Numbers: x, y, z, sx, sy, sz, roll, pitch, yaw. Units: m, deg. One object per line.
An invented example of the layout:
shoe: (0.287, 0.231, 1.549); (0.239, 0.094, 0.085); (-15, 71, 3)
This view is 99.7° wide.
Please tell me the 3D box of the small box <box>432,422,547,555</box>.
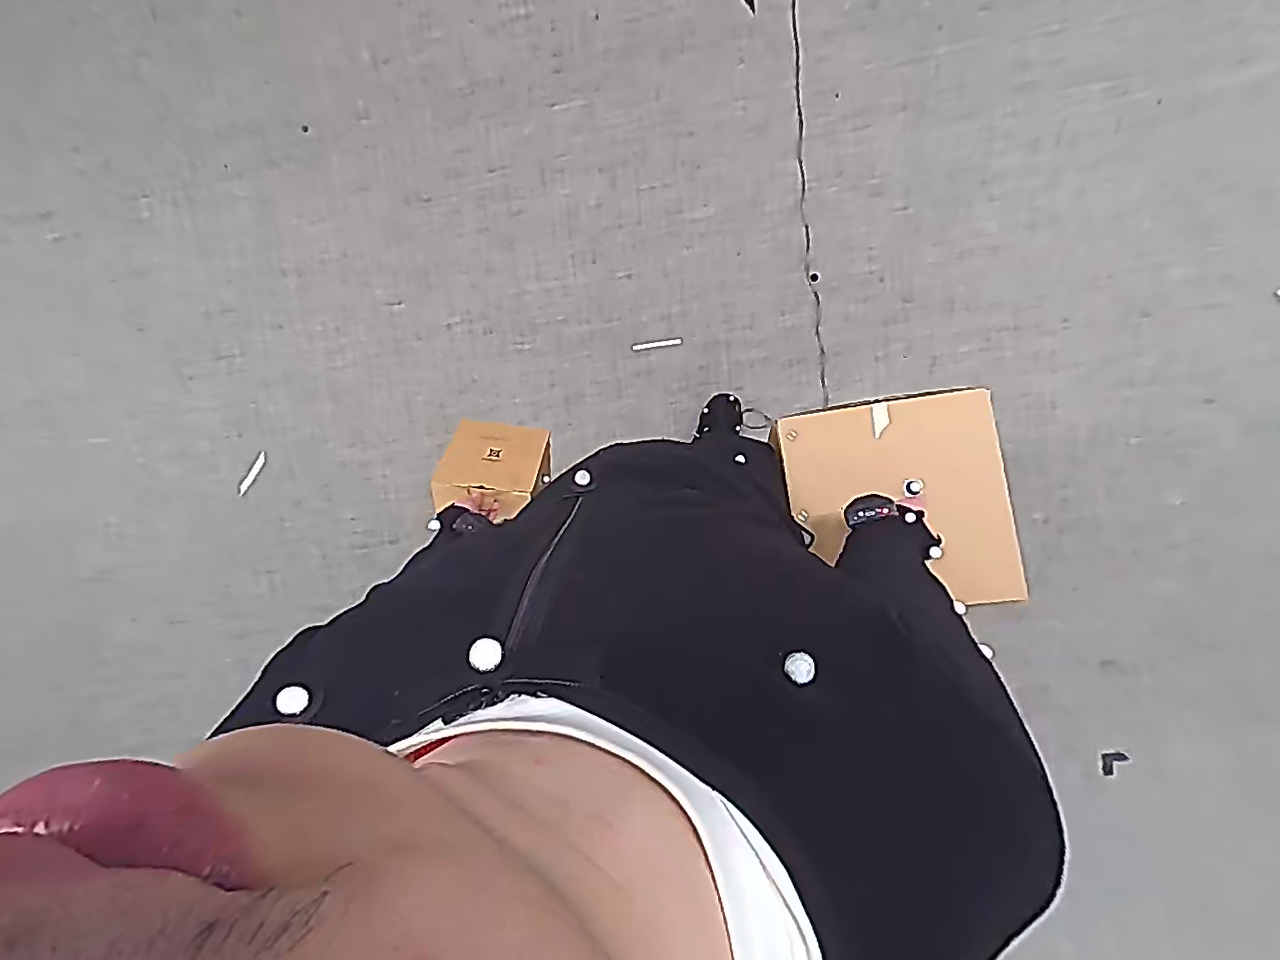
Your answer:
small box: (-0.265, 0.018, 0.998); (0.168, 0.179, 0.176); (6, 131, -3)
